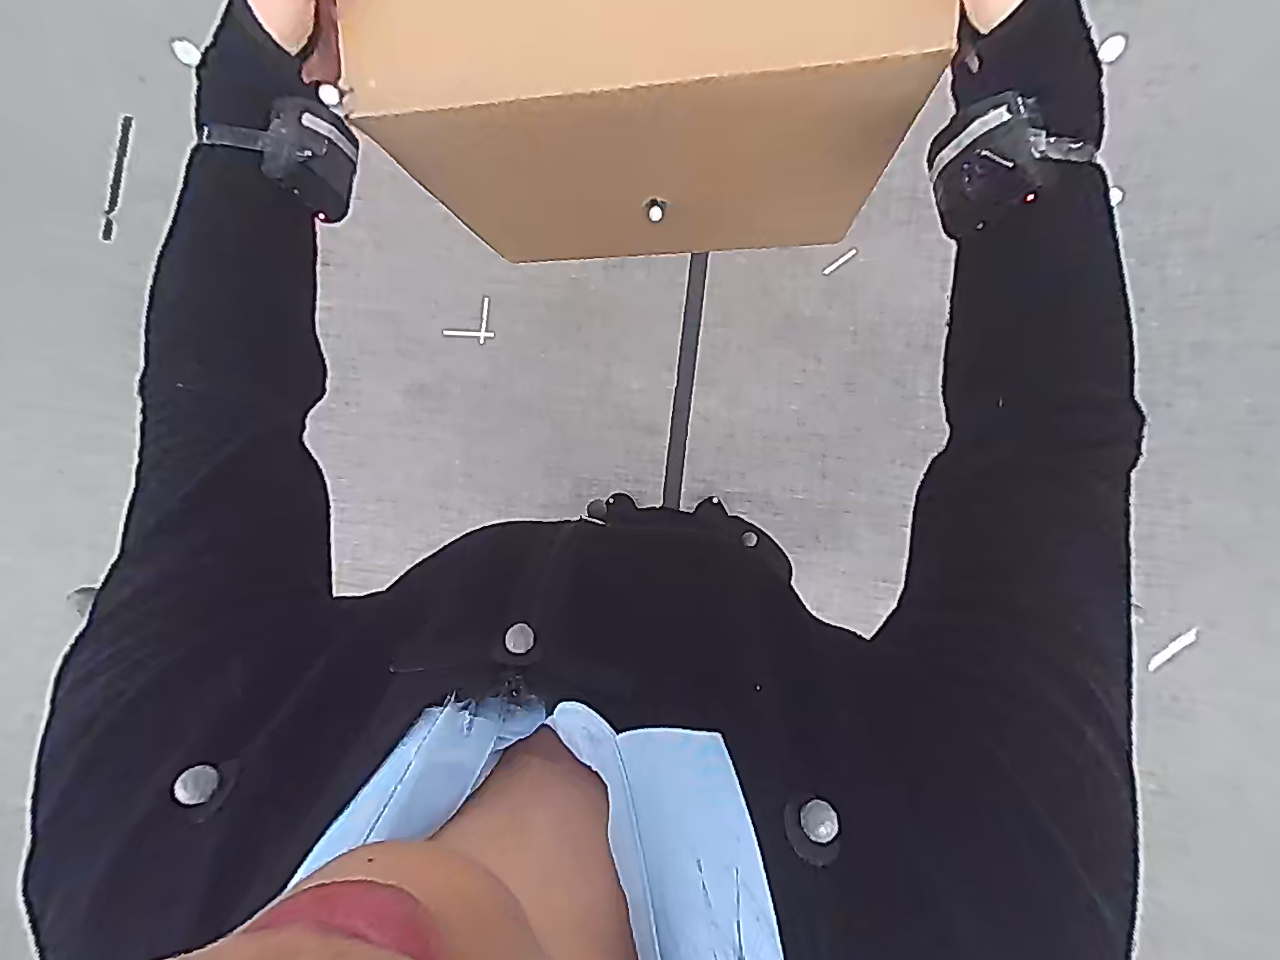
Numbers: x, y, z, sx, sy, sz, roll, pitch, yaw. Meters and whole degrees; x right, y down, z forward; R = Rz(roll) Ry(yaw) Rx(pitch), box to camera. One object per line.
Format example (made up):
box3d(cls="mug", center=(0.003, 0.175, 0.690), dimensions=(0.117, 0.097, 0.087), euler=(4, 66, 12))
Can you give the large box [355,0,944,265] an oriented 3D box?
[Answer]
box3d(cls="large box", center=(0.013, -0.418, 0.505), dimensions=(0.408, 0.320, 0.320), euler=(-1, 92, 9))
